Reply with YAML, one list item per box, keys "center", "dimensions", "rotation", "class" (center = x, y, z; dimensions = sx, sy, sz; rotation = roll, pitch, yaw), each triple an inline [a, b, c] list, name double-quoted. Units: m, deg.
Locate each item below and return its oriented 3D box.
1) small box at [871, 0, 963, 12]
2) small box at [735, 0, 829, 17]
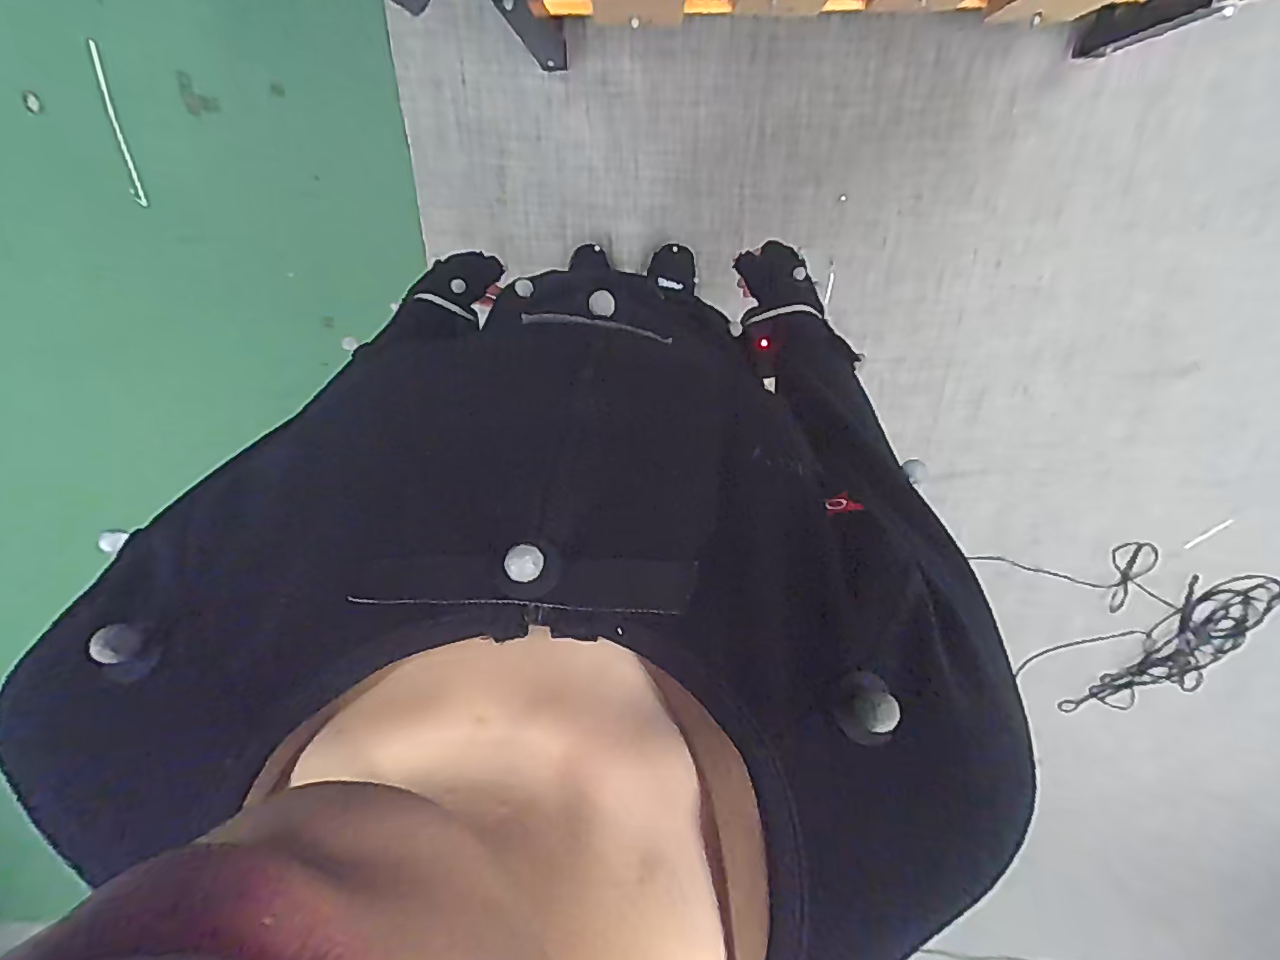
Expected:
- center: [0.504, -0.924, 0.913]
  dimensions: [0.168, 0.176, 0.179]
  rotation: [0, 116, 2]
  class: "small box"
- center: [0.258, -0.921, 0.921]
  dimensions: [0.168, 0.176, 0.179]
  rotation: [1, 116, 0]
  class: "small box"
